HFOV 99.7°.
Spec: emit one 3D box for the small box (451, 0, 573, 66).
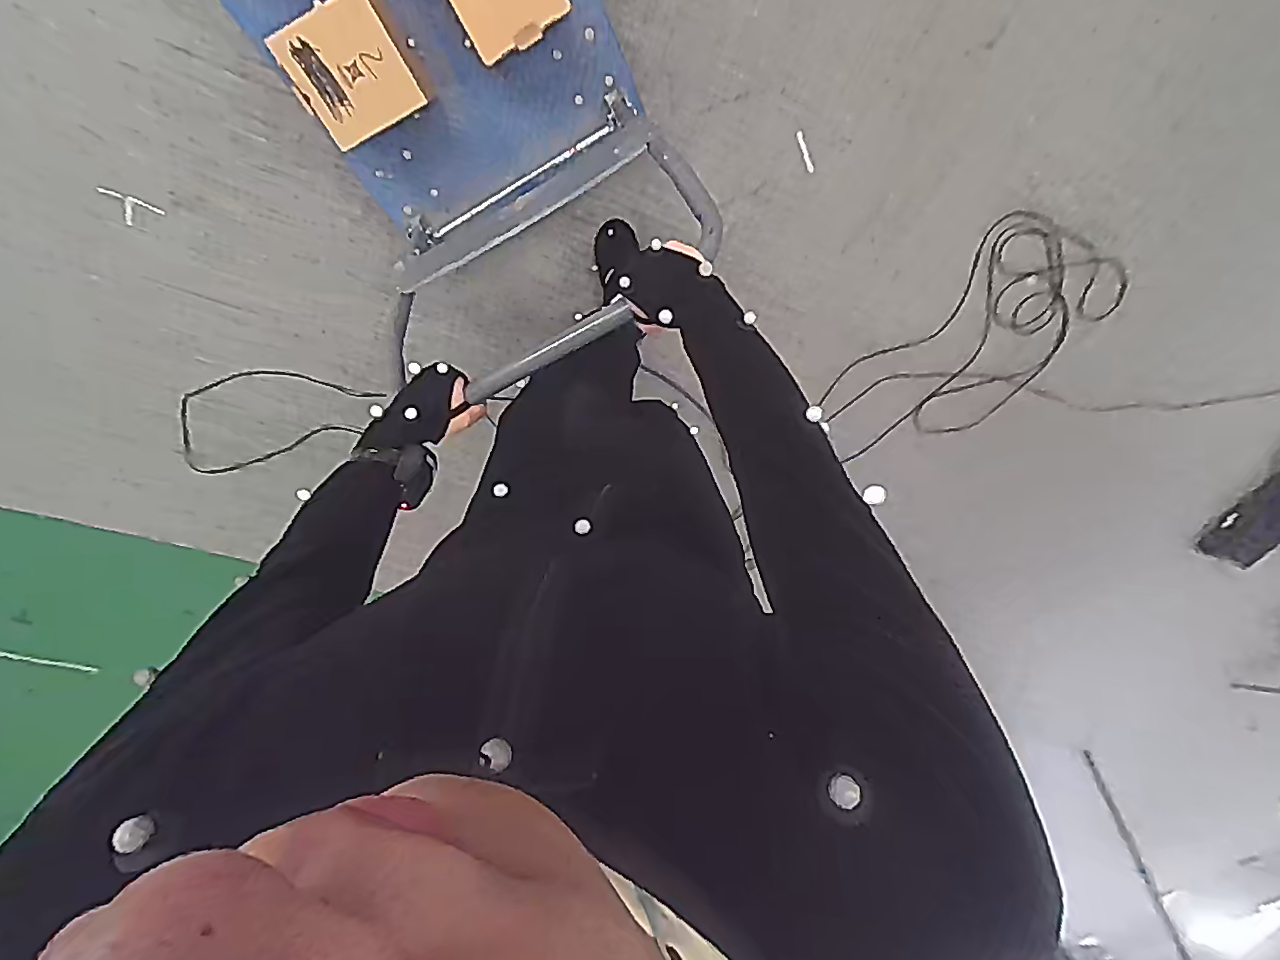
[{"bbox_3d":[-0.229,-0.815,0.875,0.168,0.176,0.179,-27,132,10],"label":"small box"}]
